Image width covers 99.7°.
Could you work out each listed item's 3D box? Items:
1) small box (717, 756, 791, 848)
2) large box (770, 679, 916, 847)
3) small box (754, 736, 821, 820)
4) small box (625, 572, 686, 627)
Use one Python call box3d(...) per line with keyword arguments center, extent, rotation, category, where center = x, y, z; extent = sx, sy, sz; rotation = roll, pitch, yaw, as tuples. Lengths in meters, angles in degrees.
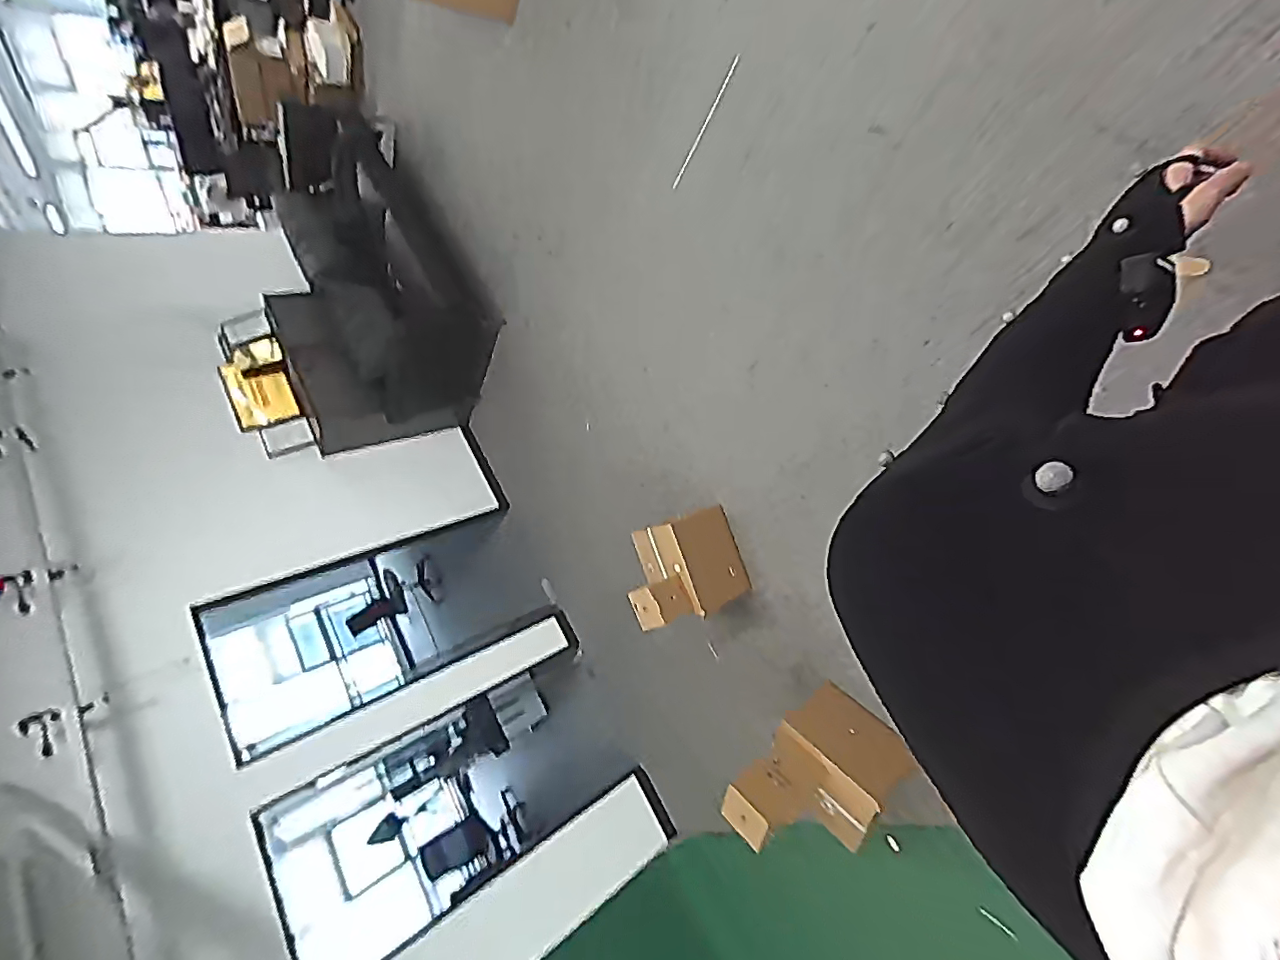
box3d(center=(0.390, 1.090, 1.841), extent=(0.168, 0.176, 0.179), rotation=(34, 129, 38), category="small box")
box3d(center=(0.747, 1.049, 2.055), extent=(0.408, 0.320, 0.320), rotation=(33, 130, 39), category="large box")
box3d(center=(0.515, 1.056, 1.940), extent=(0.179, 0.176, 0.168), rotation=(33, 129, 40), category="small box")
box3d(center=(0.073, 0.498, 2.266), extent=(0.179, 0.176, 0.168), rotation=(-33, 78, 51), category="small box")
